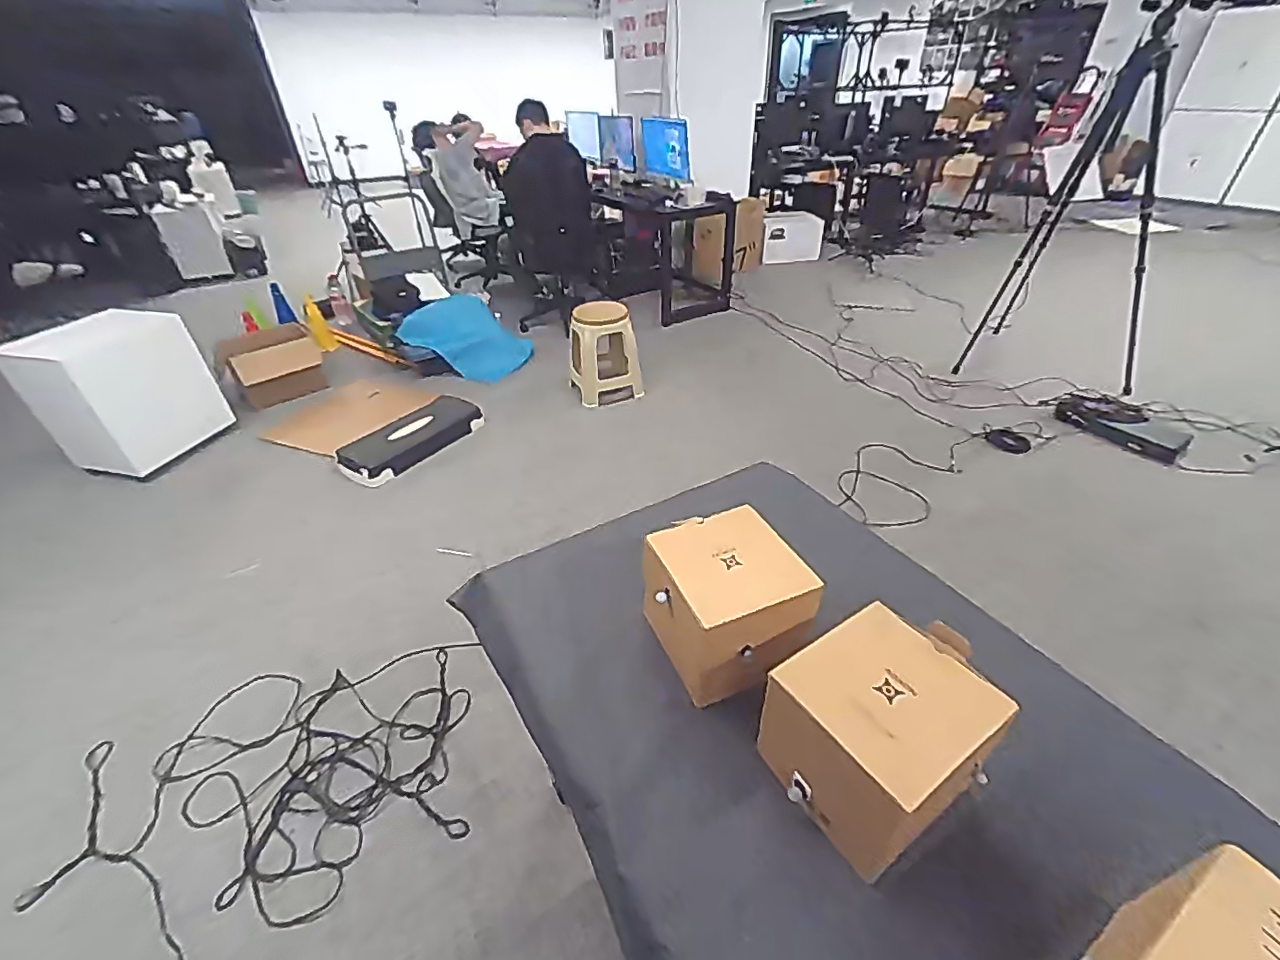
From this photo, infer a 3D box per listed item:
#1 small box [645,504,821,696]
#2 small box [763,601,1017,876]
[{"bbox_3d":[0.116,0.166,0.738,0.168,0.176,0.179,-15,38,-18],"label":"small box"},{"bbox_3d":[0.253,0.272,0.587,0.179,0.176,0.168,-22,40,-26],"label":"small box"}]
